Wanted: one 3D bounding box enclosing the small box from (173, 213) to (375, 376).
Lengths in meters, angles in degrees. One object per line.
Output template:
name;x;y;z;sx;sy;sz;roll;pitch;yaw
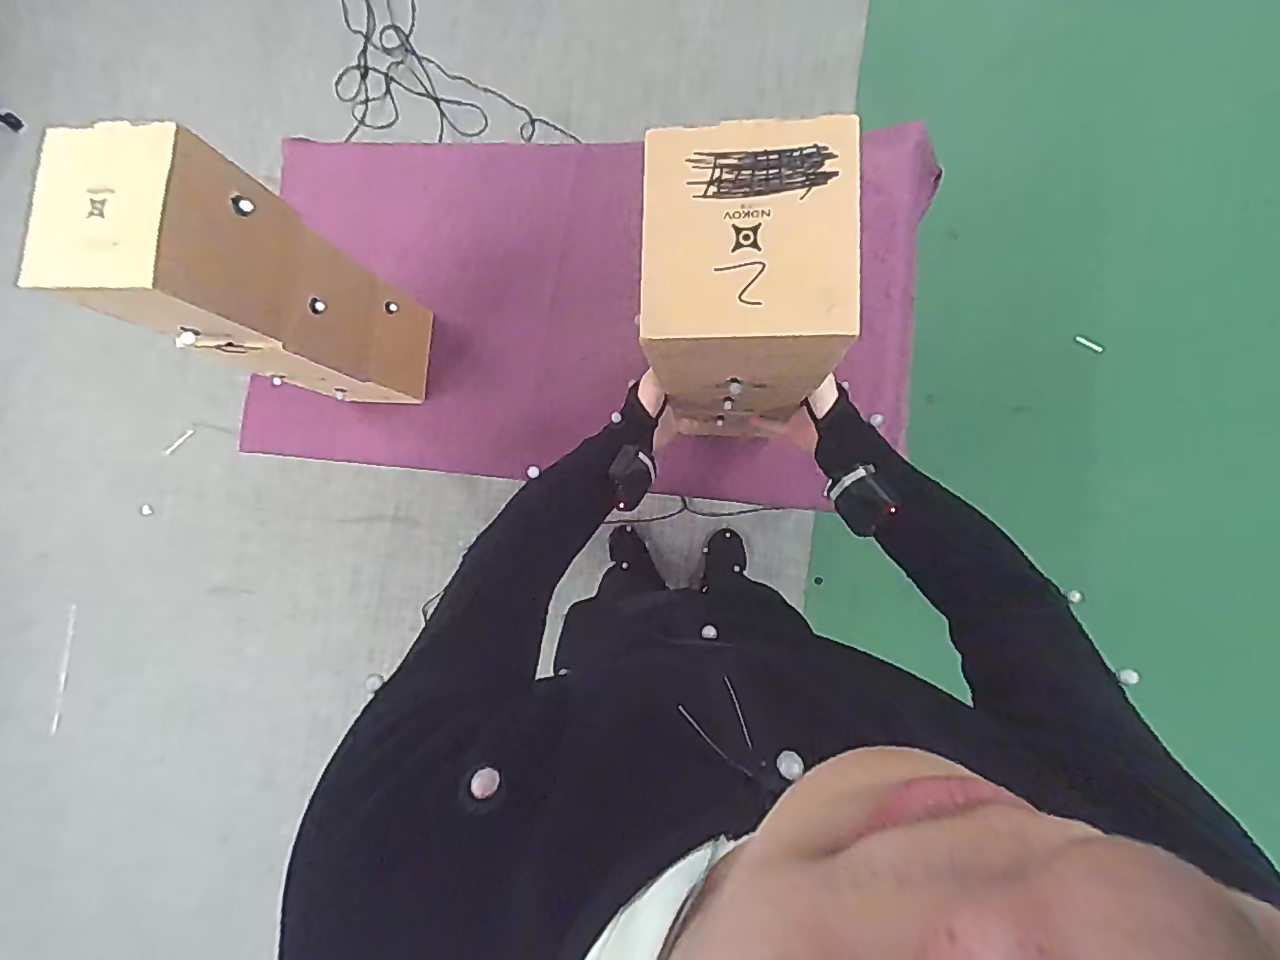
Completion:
small box;-0.513;-0.257;0.781;0.168;0.176;0.179;4;85;9

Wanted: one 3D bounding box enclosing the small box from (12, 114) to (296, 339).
small box;-0.535;-0.278;0.621;0.168;0.176;0.179;5;86;10

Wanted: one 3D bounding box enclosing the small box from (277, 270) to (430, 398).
small box;-0.488;-0.246;0.943;0.168;0.176;0.179;3;86;9

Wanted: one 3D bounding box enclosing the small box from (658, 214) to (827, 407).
small box;0.120;-0.191;0.650;0.168;0.176;0.179;5;85;9

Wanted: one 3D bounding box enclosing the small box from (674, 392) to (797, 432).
small box;0.145;-0.176;0.814;0.168;0.176;0.179;3;87;10
